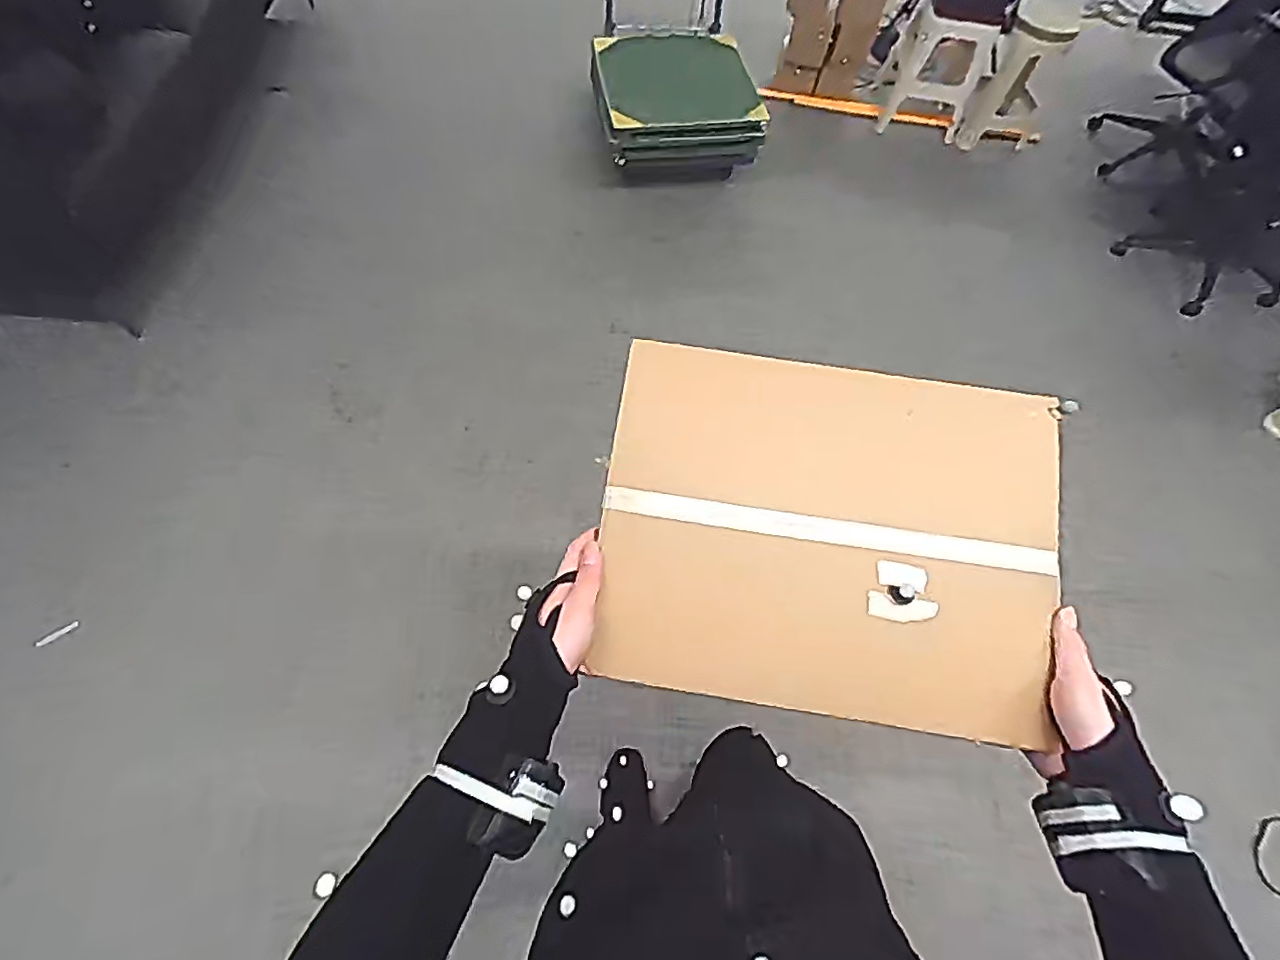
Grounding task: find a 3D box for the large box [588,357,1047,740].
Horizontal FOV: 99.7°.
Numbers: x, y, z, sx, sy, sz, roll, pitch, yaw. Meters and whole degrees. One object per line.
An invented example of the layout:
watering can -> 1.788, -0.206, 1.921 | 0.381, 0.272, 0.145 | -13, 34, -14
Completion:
large box -> 0.167, 0.080, 0.639 | 0.408, 0.320, 0.320 | 8, 80, 1
